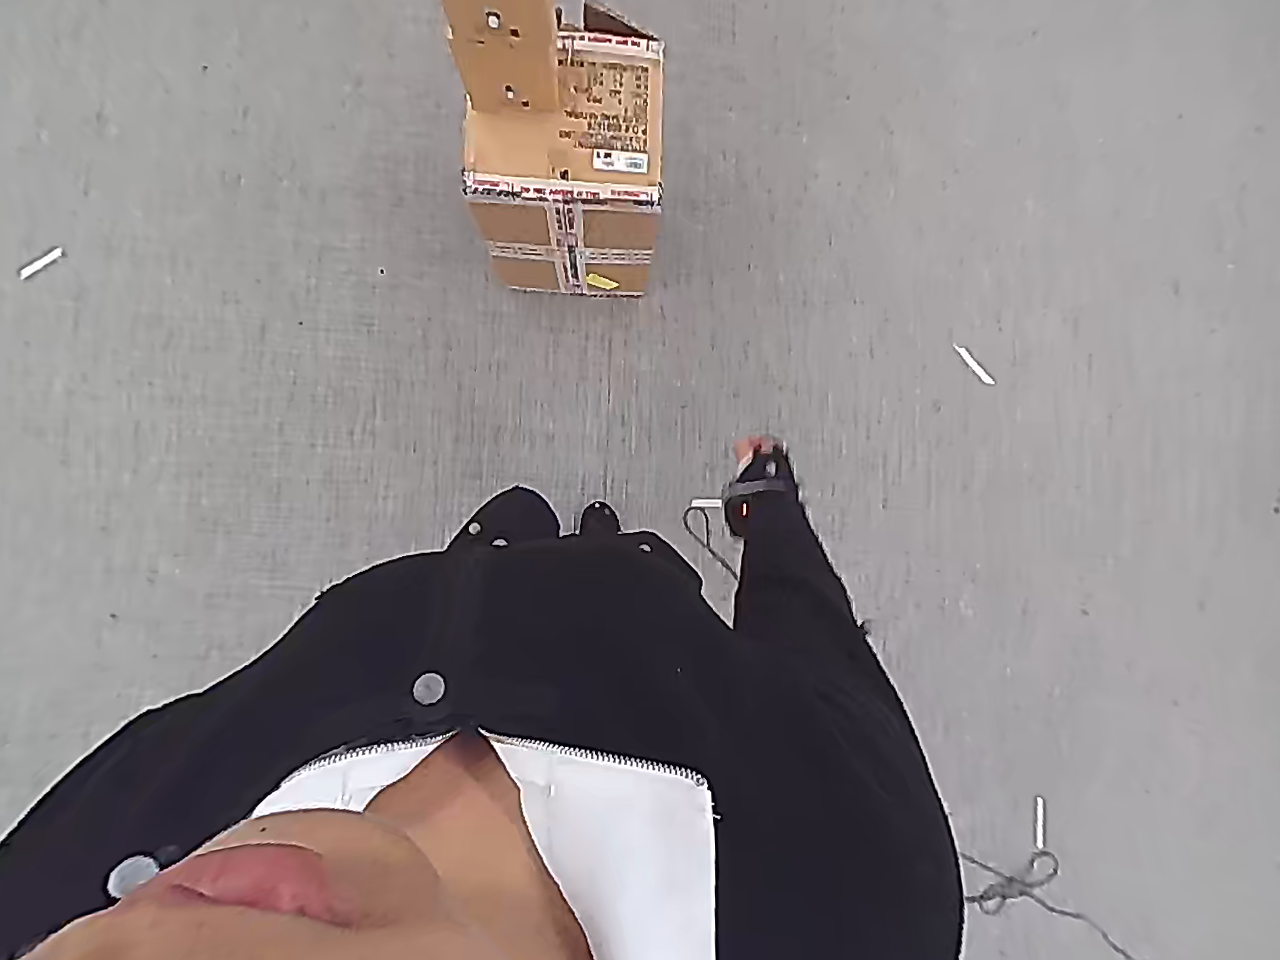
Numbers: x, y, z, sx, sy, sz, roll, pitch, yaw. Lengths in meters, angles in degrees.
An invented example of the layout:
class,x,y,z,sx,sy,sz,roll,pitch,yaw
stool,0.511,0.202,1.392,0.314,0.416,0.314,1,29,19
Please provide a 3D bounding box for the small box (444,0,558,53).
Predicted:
class,x,y,z,sx,sy,sz,roll,pitch,yaw
small box,-0.215,-0.800,0.813,0.168,0.176,0.179,2,89,-2

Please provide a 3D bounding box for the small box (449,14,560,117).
class,x,y,z,sx,sy,sz,roll,pitch,yaw
small box,-0.237,-0.800,0.977,0.168,0.176,0.179,-1,89,-2
